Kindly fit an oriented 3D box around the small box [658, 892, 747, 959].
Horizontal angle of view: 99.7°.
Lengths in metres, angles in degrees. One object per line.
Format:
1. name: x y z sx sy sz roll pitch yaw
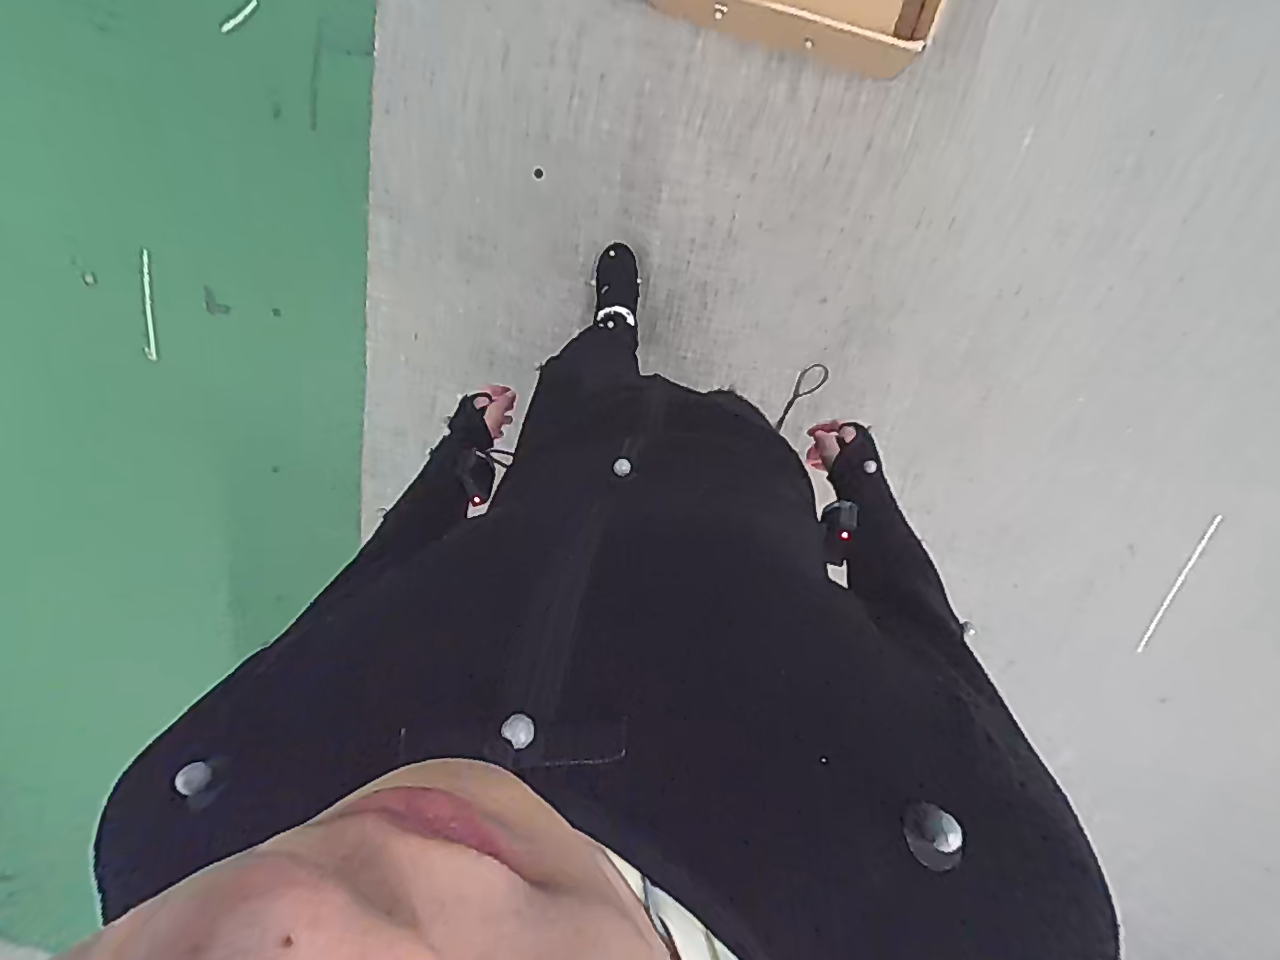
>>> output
1. small box: 0.129 1.016 1.130 0.168 0.176 0.179 10 109 1
